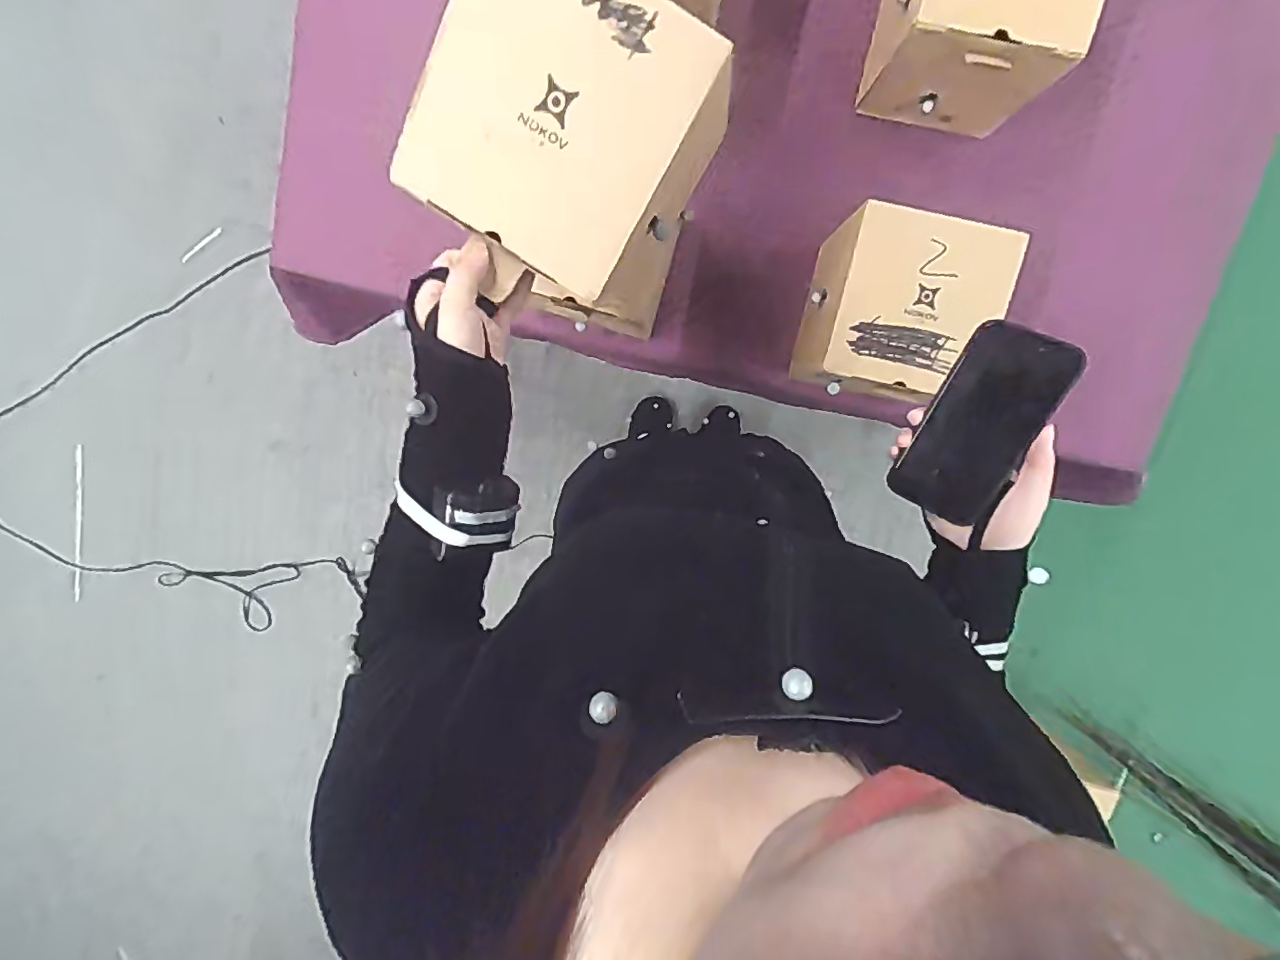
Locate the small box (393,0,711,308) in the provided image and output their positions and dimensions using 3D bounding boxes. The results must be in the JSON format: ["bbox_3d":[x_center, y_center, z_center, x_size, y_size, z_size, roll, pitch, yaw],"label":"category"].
[{"bbox_3d":[-0.053,-0.253,0.428,0.168,0.176,0.179,29,108,-2],"label":"small box"}]

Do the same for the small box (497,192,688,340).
[{"bbox_3d":[-0.046,-0.276,0.629,0.168,0.176,0.179,17,100,1],"label":"small box"}]

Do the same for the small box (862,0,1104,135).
[{"bbox_3d":[0.358,-0.507,0.571,0.168,0.176,0.179,11,101,1],"label":"small box"}]
